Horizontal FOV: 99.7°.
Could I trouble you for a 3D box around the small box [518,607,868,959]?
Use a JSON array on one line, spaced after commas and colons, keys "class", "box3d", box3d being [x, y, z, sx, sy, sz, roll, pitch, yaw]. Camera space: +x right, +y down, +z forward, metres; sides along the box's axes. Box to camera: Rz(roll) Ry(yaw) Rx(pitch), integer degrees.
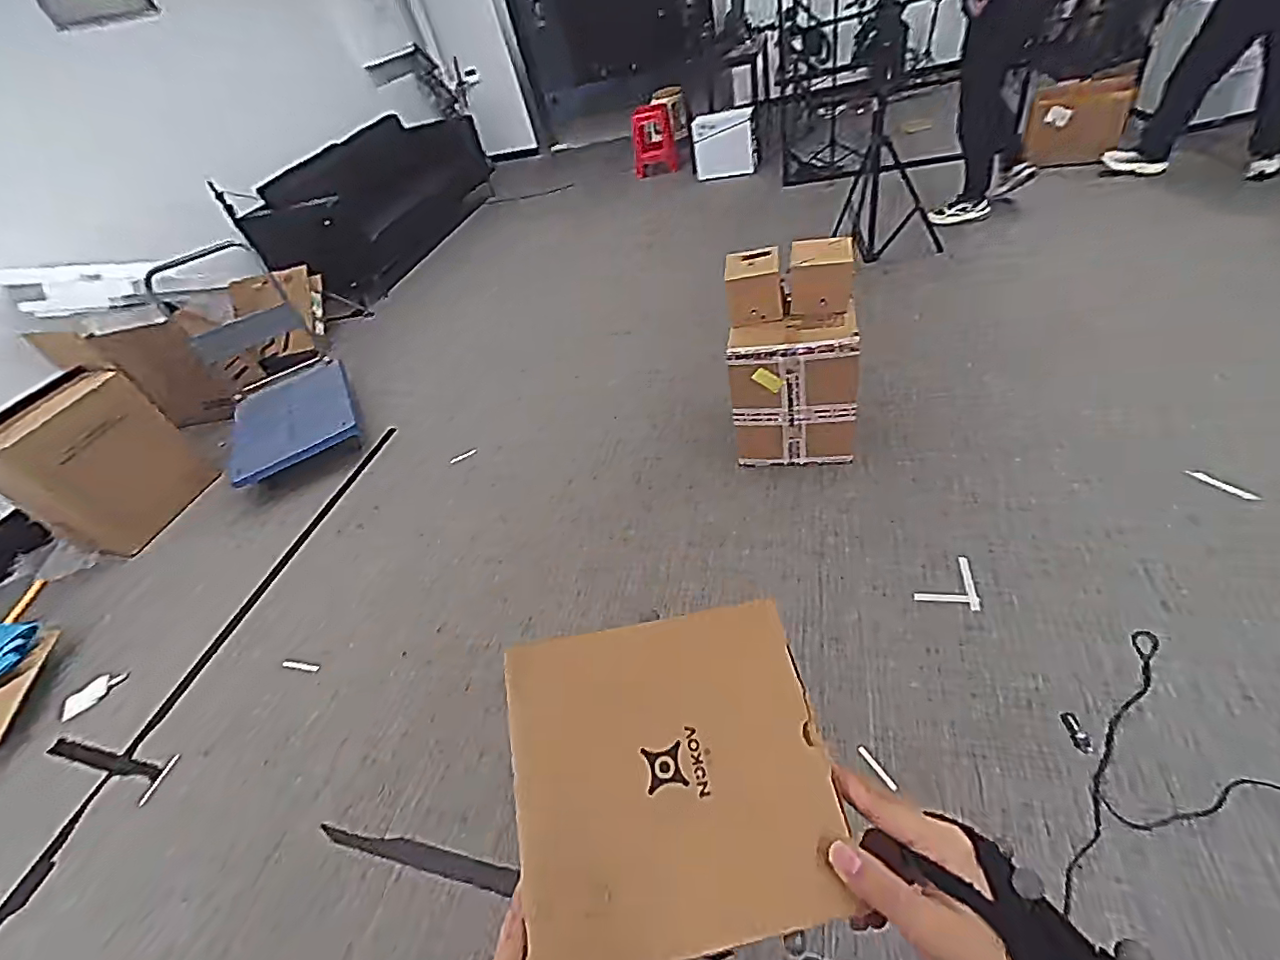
[{"class": "small box", "box3d": [0.021, 0.208, 0.382, 0.179, 0.176, 0.168, -9, 60, -7]}]
